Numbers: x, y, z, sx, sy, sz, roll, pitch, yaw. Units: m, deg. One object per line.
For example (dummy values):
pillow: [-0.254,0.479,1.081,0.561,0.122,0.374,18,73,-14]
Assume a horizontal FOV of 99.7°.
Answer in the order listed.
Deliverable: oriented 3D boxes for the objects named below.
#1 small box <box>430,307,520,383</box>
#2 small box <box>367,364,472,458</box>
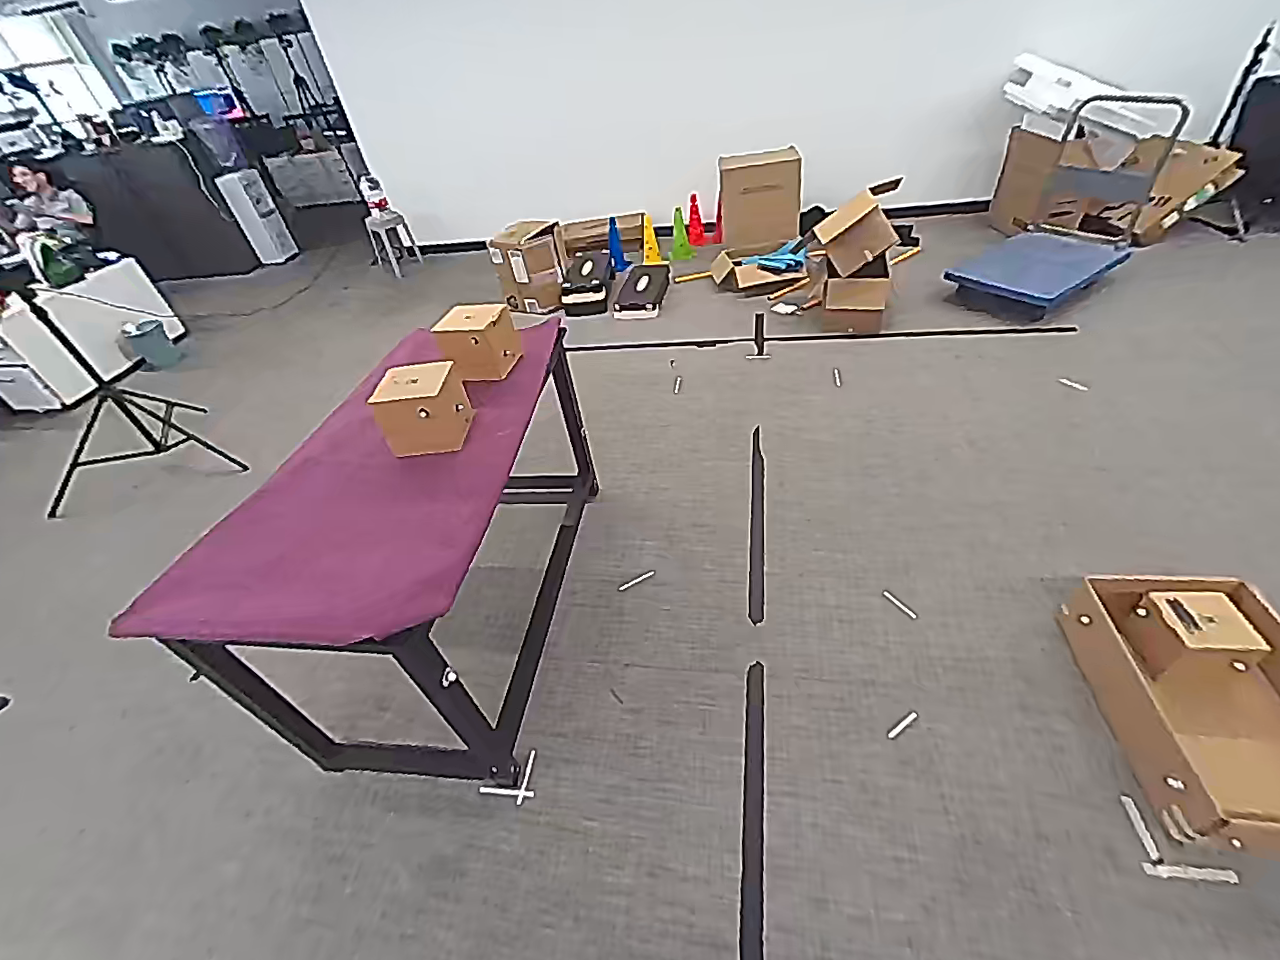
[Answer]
small box: [-0.489,-0.405,1.628,0.179,0.176,0.168,2,43,15]
small box: [-0.550,-0.174,1.379,0.179,0.176,0.168,-6,41,4]
